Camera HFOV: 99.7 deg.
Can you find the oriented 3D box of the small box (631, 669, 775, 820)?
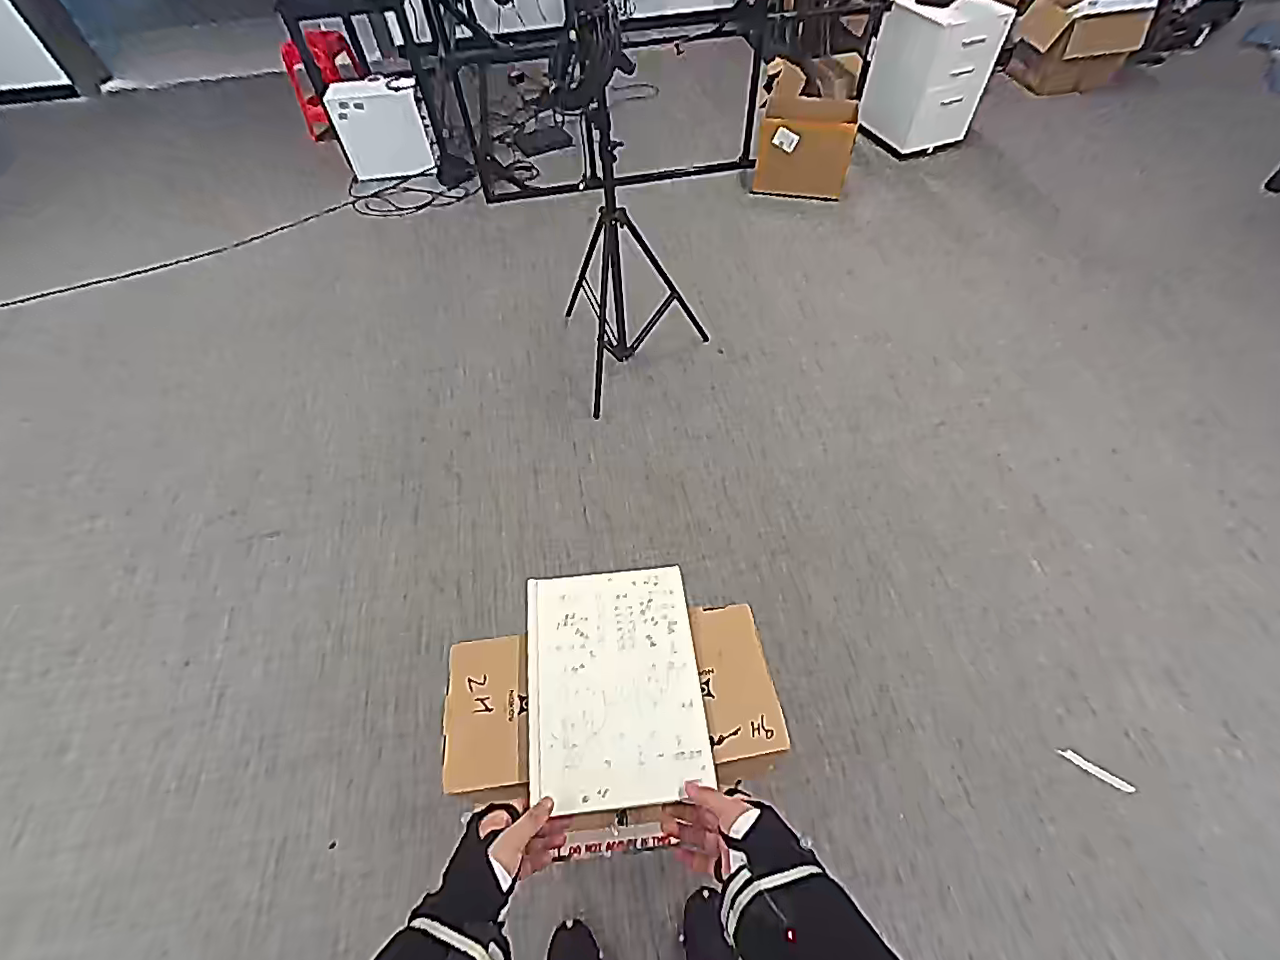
[{"bbox_3d":[0.086,0.410,0.832,0.179,0.176,0.168,-10,56,-5],"label":"small box"}]

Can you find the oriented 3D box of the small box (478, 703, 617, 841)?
[{"bbox_3d":[-0.127,0.442,0.818,0.179,0.176,0.168,-4,56,1],"label":"small box"}]
